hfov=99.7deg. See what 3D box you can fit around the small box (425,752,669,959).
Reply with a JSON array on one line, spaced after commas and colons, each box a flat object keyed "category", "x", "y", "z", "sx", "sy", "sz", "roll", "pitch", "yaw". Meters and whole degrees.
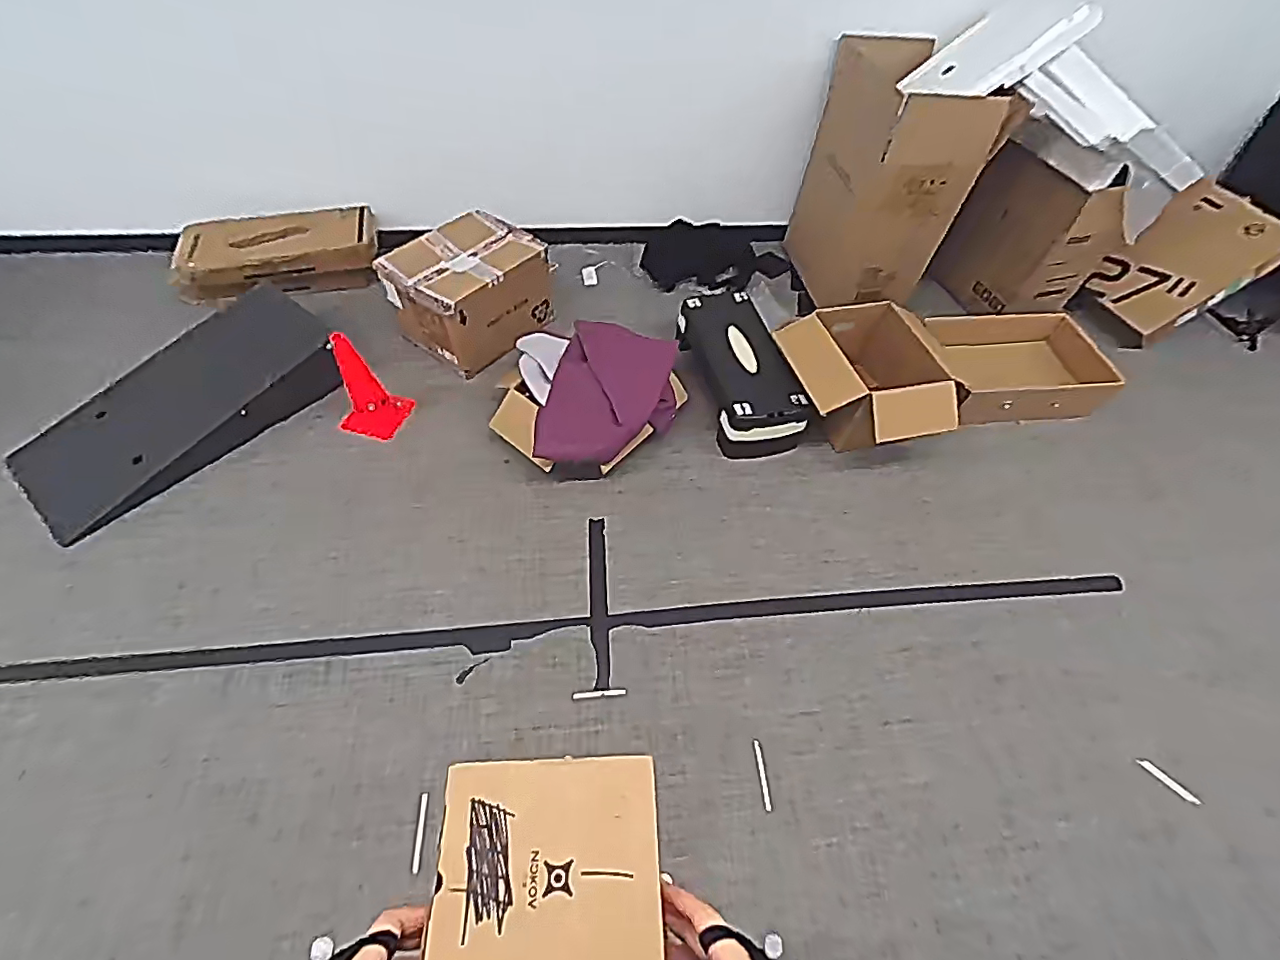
[{"category": "small box", "x": -0.070, "y": 0.350, "z": 0.479, "sx": 0.179, "sy": 0.176, "sz": 0.168, "roll": -1, "pitch": 53, "yaw": -3}]
